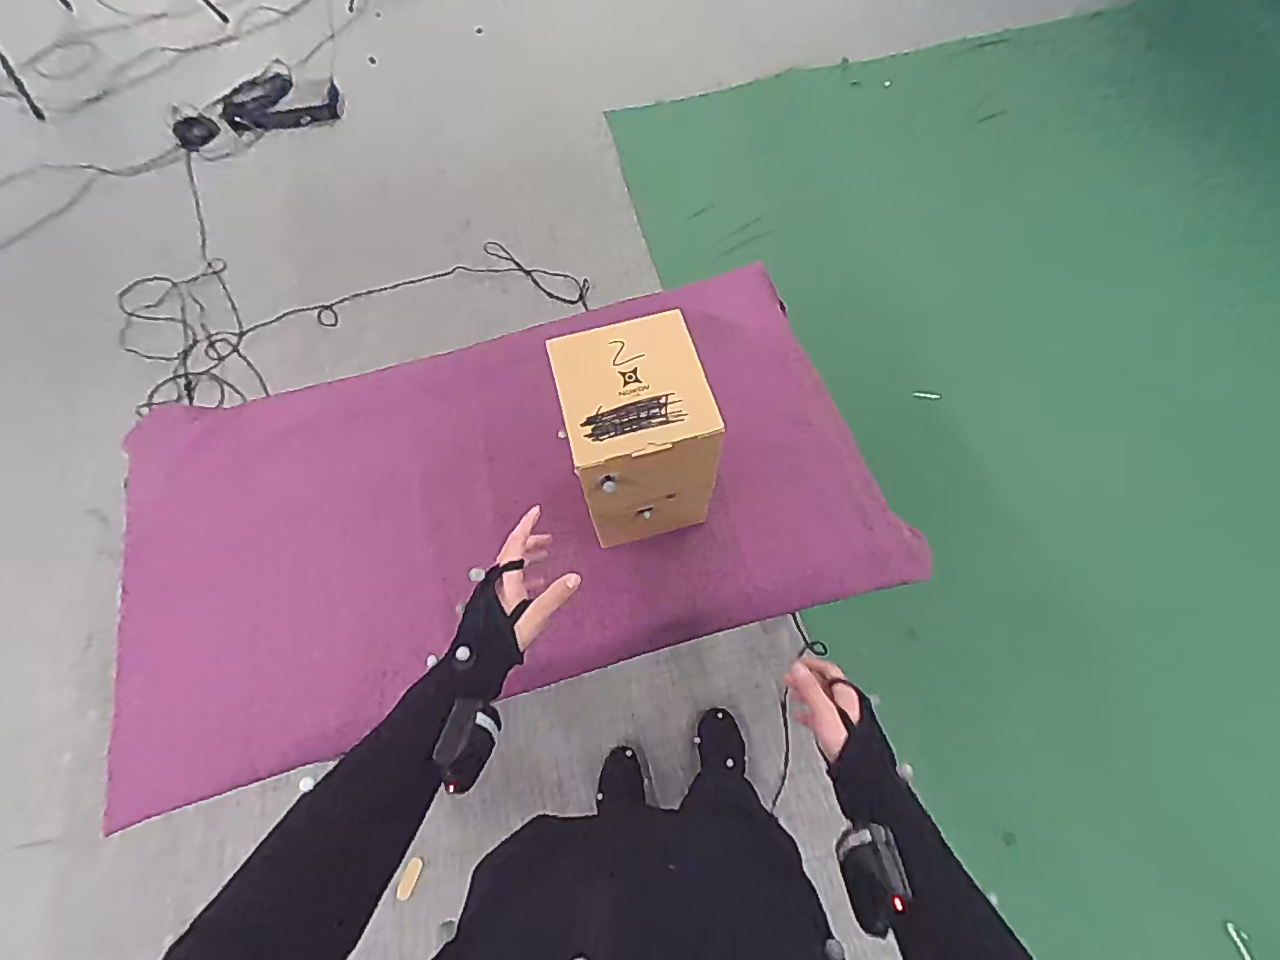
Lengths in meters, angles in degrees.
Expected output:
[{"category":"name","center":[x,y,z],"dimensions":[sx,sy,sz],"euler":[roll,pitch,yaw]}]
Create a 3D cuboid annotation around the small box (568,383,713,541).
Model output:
[{"category":"small box","center":[0.001,-0.019,0.831],"dimensions":[0.179,0.176,0.168],"euler":[-14,67,-4]}]
